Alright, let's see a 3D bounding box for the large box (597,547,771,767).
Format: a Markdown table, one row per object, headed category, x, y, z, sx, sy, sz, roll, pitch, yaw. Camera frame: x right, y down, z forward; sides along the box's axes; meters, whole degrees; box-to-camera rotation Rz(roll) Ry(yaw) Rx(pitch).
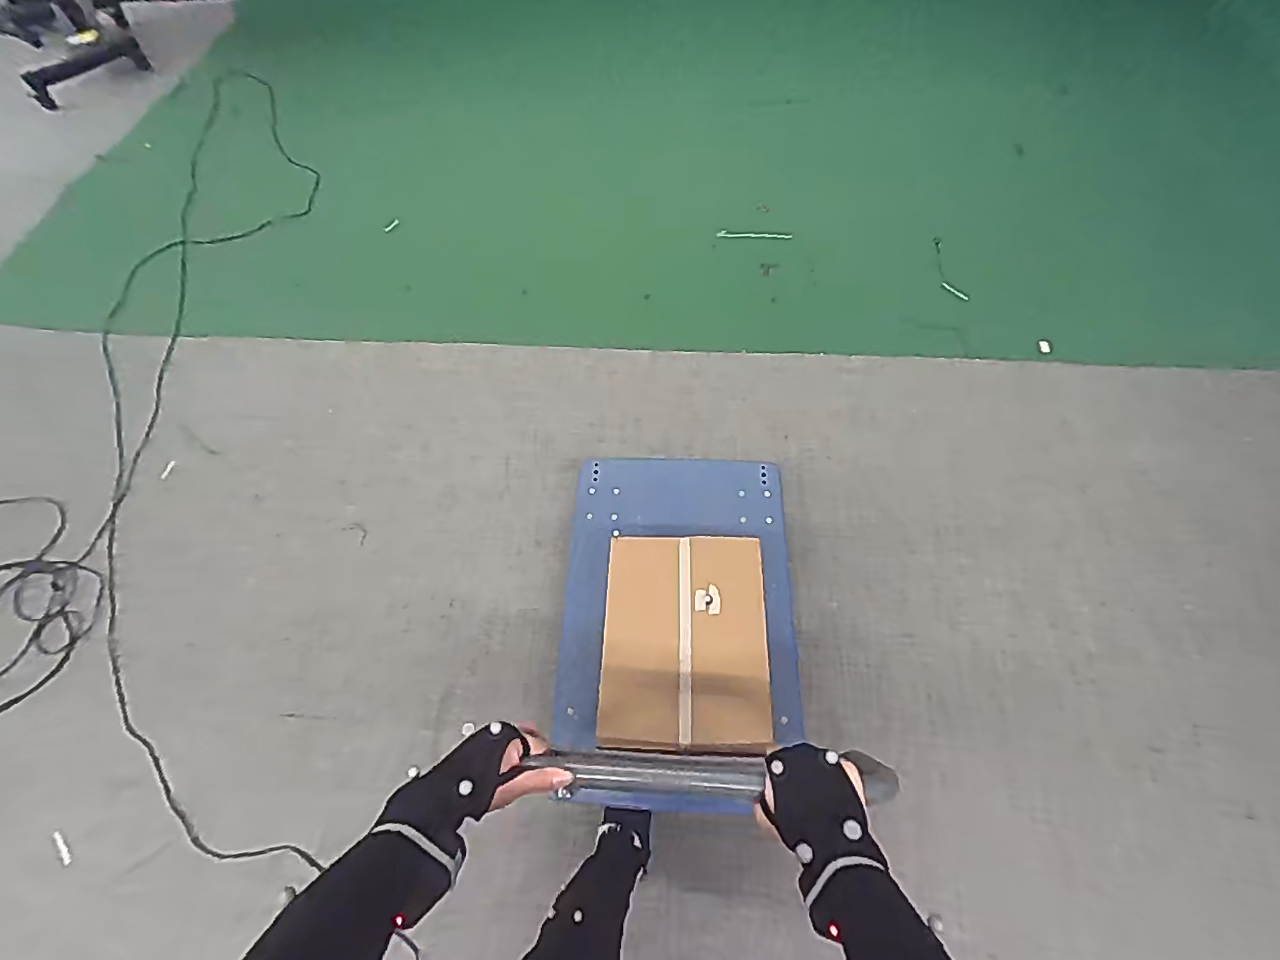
| category | x | y | z | sx | sy | sz | roll | pitch | yaw |
| --- | --- | --- | --- | --- | --- | --- | --- | --- | --- |
| large box | 0.093 | 0.391 | 1.177 | 0.320 | 0.320 | 0.408 | 1 | 59 | 4 |
